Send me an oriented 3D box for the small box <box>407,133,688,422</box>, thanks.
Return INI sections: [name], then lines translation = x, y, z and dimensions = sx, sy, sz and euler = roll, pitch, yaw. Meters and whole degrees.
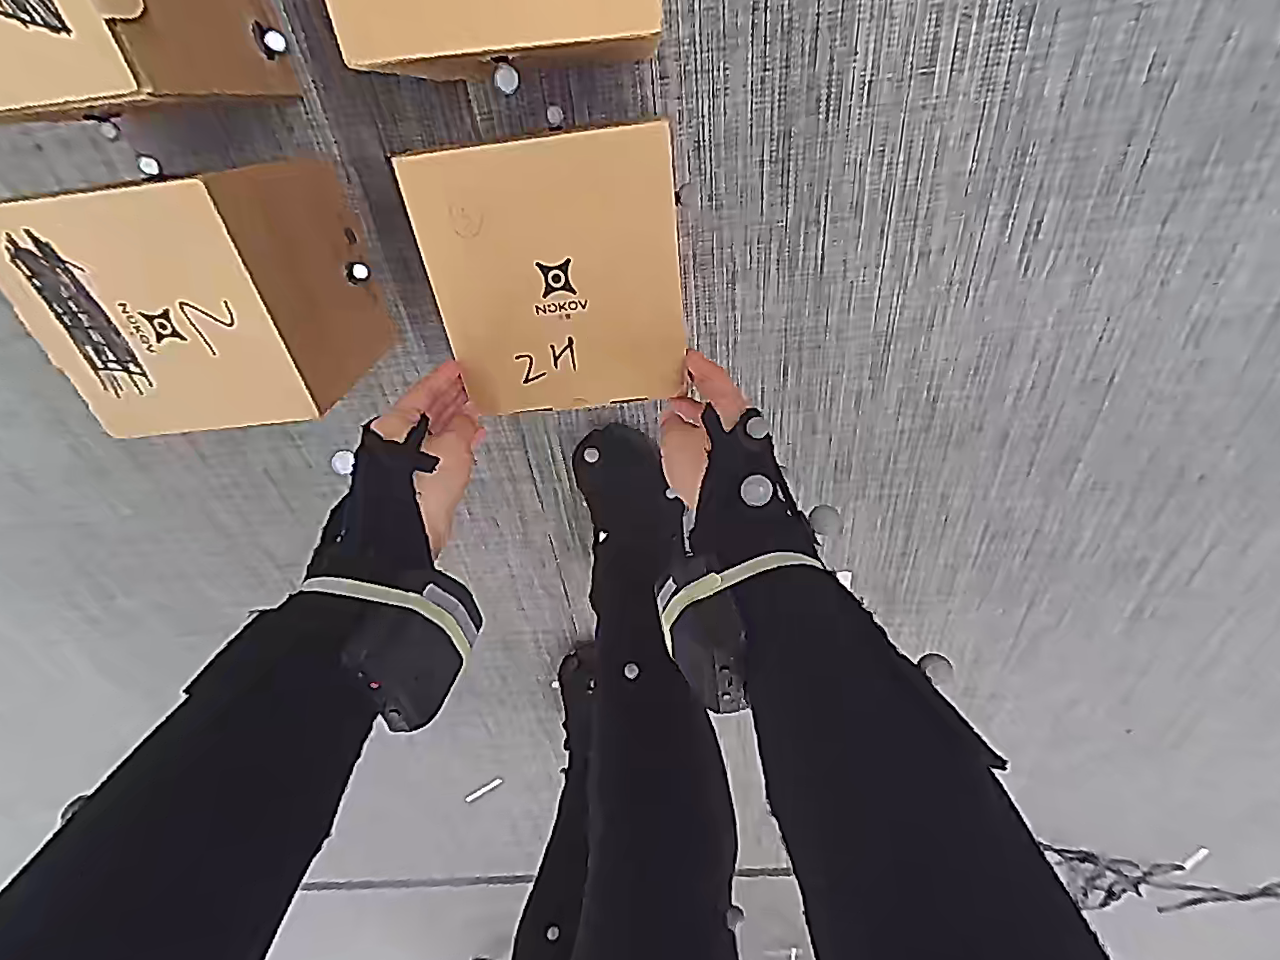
[small box]
translation = -0.053, -0.169, 0.435
dimensions = 0.168, 0.176, 0.179
euler = -5, 125, 4
